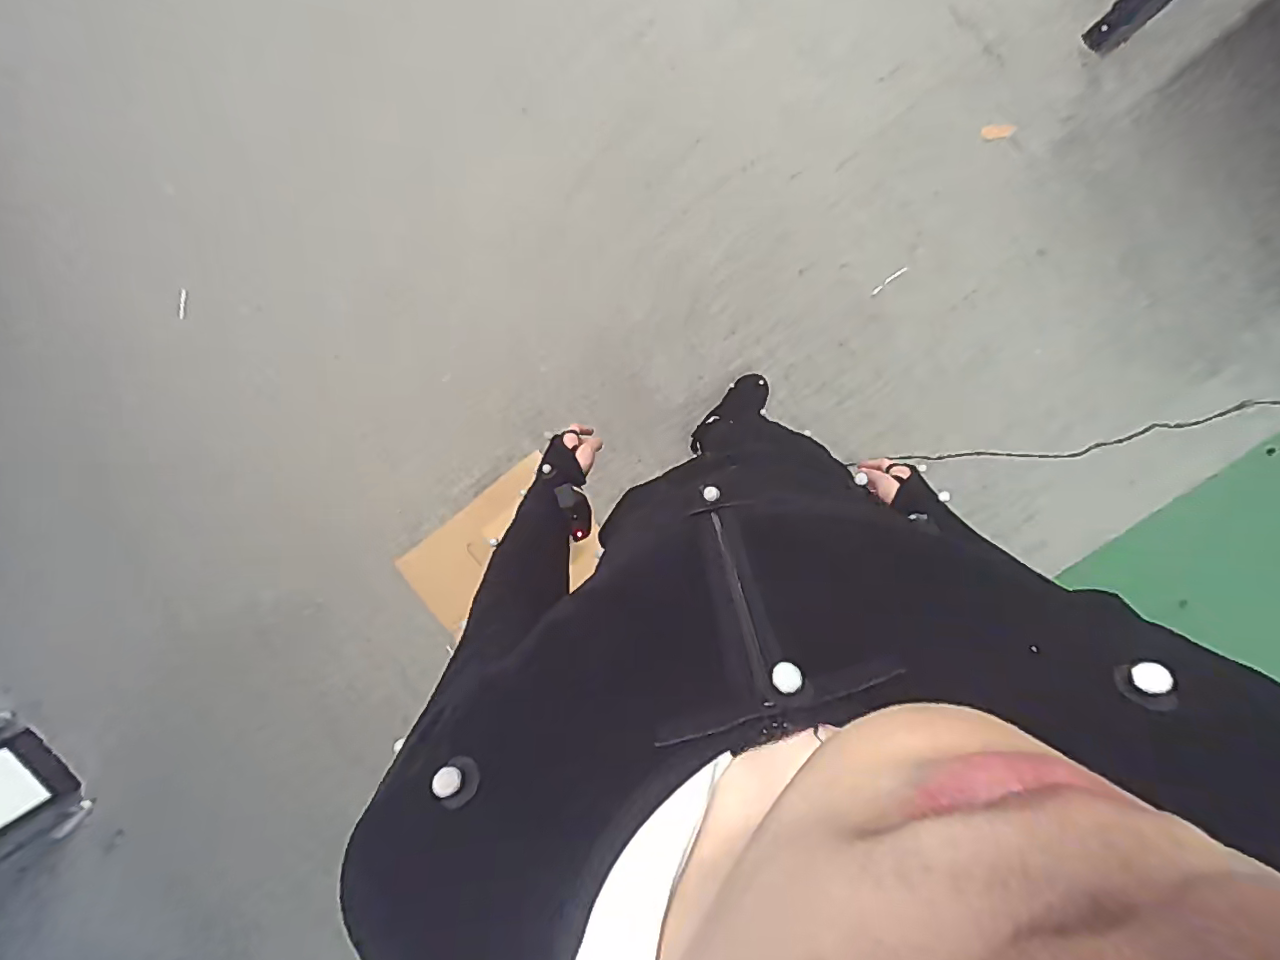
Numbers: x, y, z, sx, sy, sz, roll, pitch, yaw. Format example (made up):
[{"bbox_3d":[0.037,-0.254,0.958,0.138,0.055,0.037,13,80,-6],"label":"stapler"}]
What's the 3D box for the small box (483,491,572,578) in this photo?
[{"bbox_3d":[-0.322,0.152,1.590,0.168,0.176,0.179,-37,93,7],"label":"small box"}]
